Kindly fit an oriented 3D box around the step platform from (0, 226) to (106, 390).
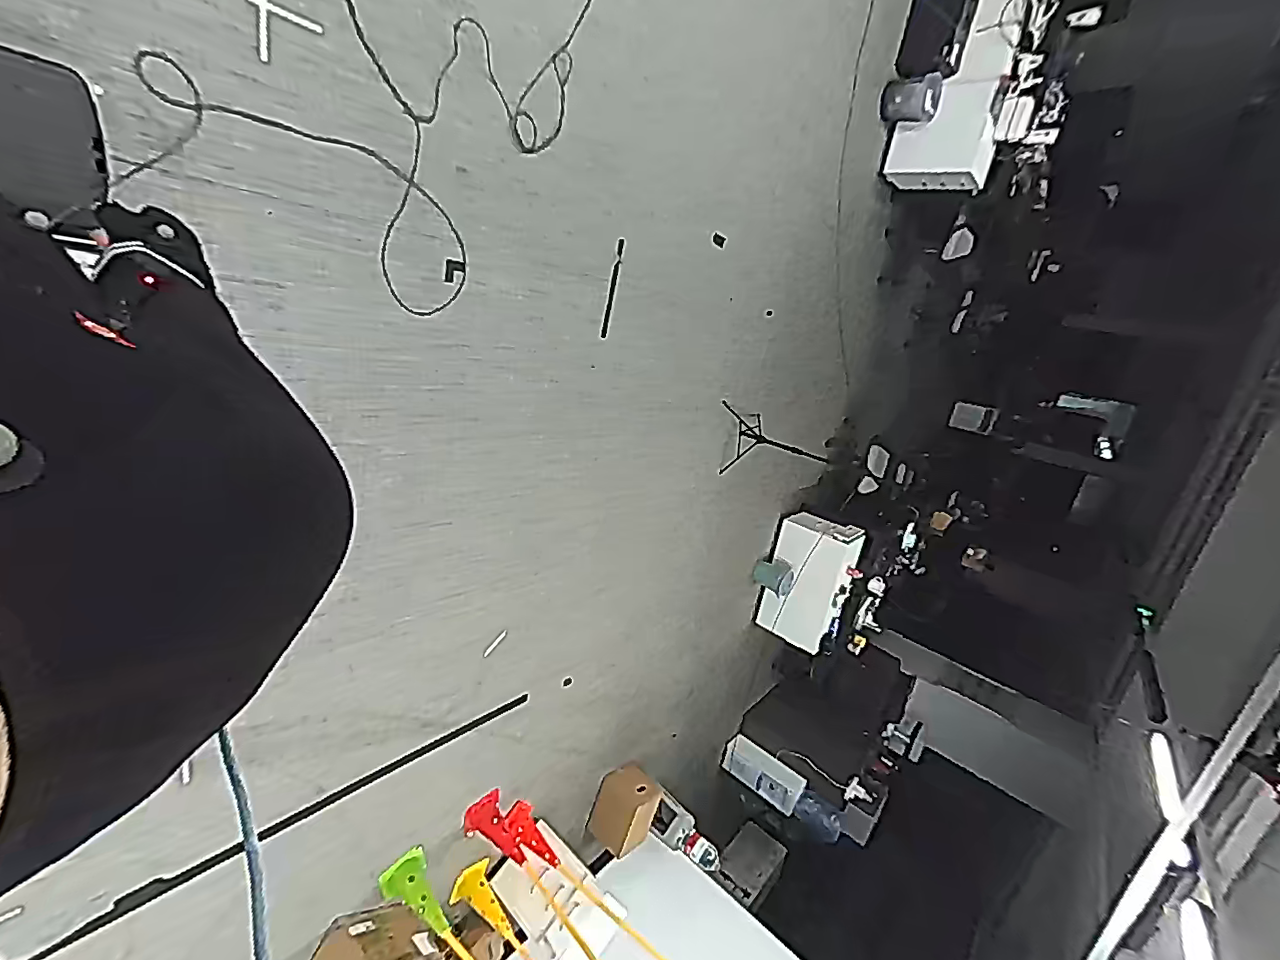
[{"bbox_3d":[-1.312,-0.293,0.842,0.684,0.204,0.286,-11,117,-48],"label":"step platform"}]
